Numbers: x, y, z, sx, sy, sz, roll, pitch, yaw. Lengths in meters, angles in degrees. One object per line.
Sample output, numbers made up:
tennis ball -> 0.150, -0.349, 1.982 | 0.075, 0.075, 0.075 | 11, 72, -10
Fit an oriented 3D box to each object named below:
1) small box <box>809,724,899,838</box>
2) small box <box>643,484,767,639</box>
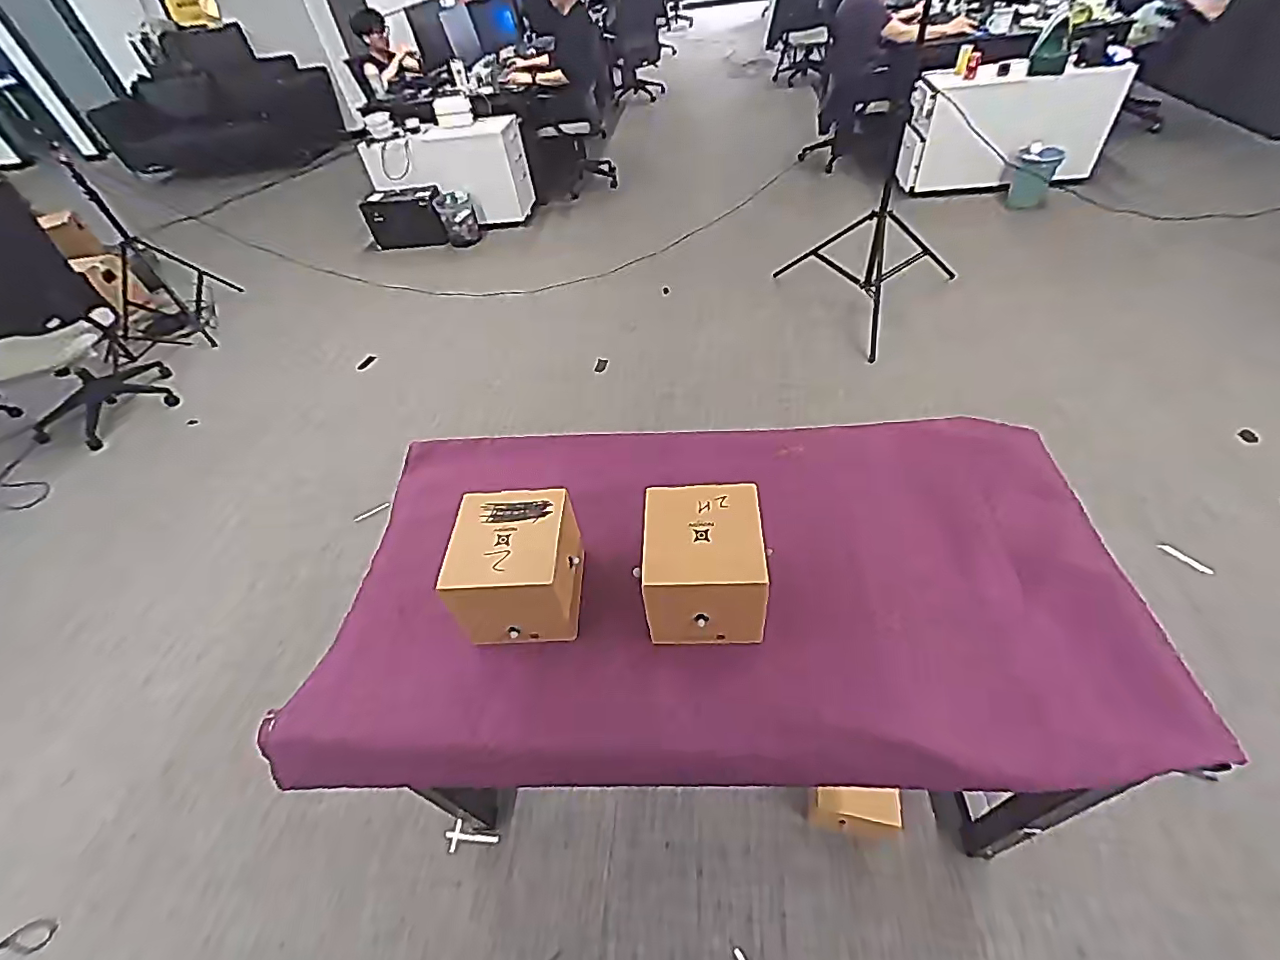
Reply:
small box -> 0.483, 0.690, 1.236 | 0.168, 0.176, 0.179 | 5, 47, 14
small box -> 0.098, 0.127, 0.816 | 0.168, 0.176, 0.179 | -2, 46, 6
